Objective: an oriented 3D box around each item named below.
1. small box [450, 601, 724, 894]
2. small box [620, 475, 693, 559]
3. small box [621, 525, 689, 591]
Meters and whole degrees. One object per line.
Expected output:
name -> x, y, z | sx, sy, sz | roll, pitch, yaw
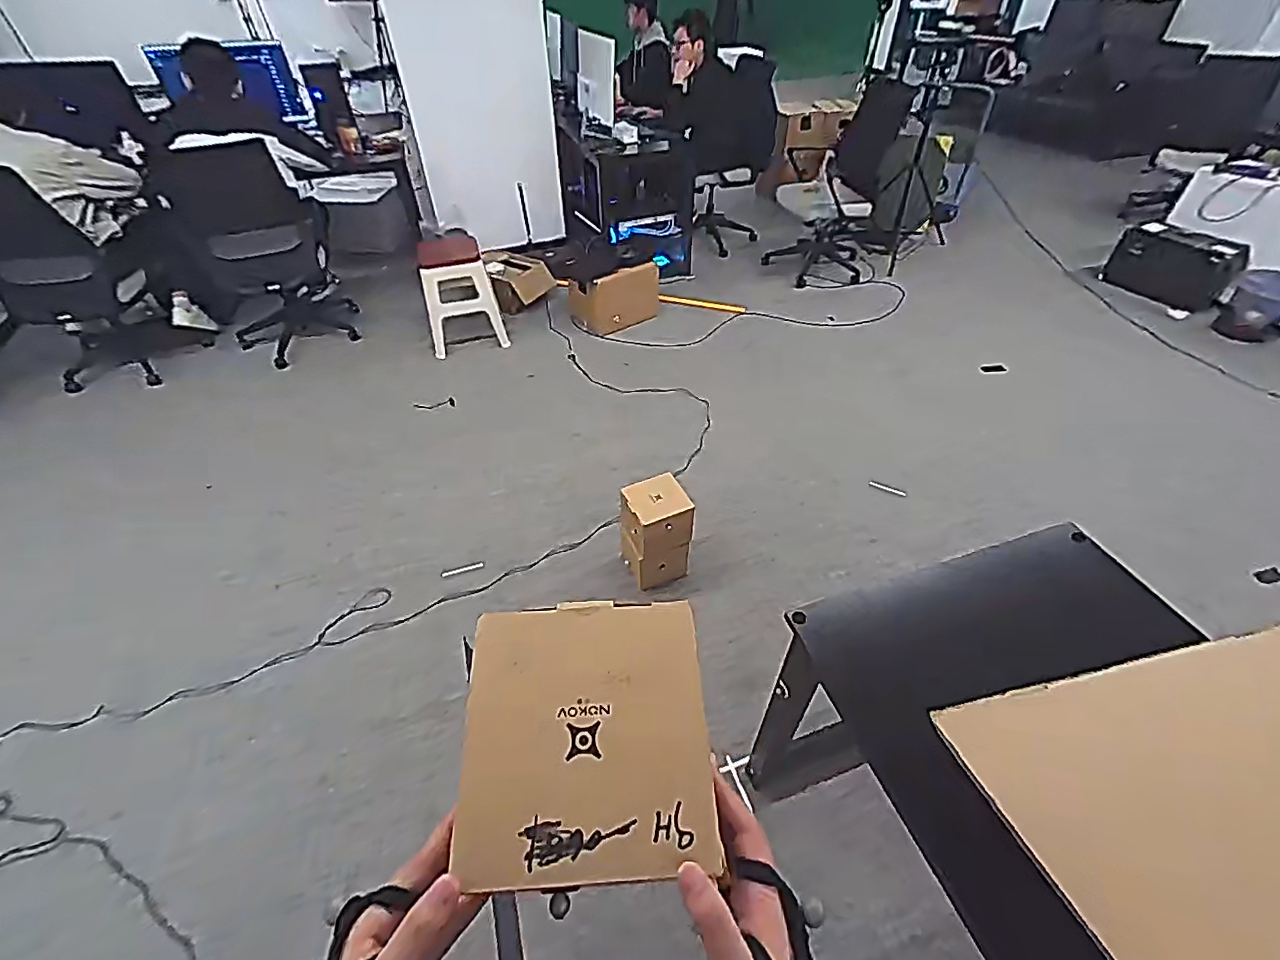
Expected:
small box -> -0.035, 0.216, 0.432 | 0.168, 0.176, 0.179 | -4, 53, -1
small box -> 0.050, 0.119, 1.689 | 0.179, 0.176, 0.168 | -18, 48, -19
small box -> 0.047, 0.237, 1.799 | 0.179, 0.176, 0.168 | -17, 46, -15
